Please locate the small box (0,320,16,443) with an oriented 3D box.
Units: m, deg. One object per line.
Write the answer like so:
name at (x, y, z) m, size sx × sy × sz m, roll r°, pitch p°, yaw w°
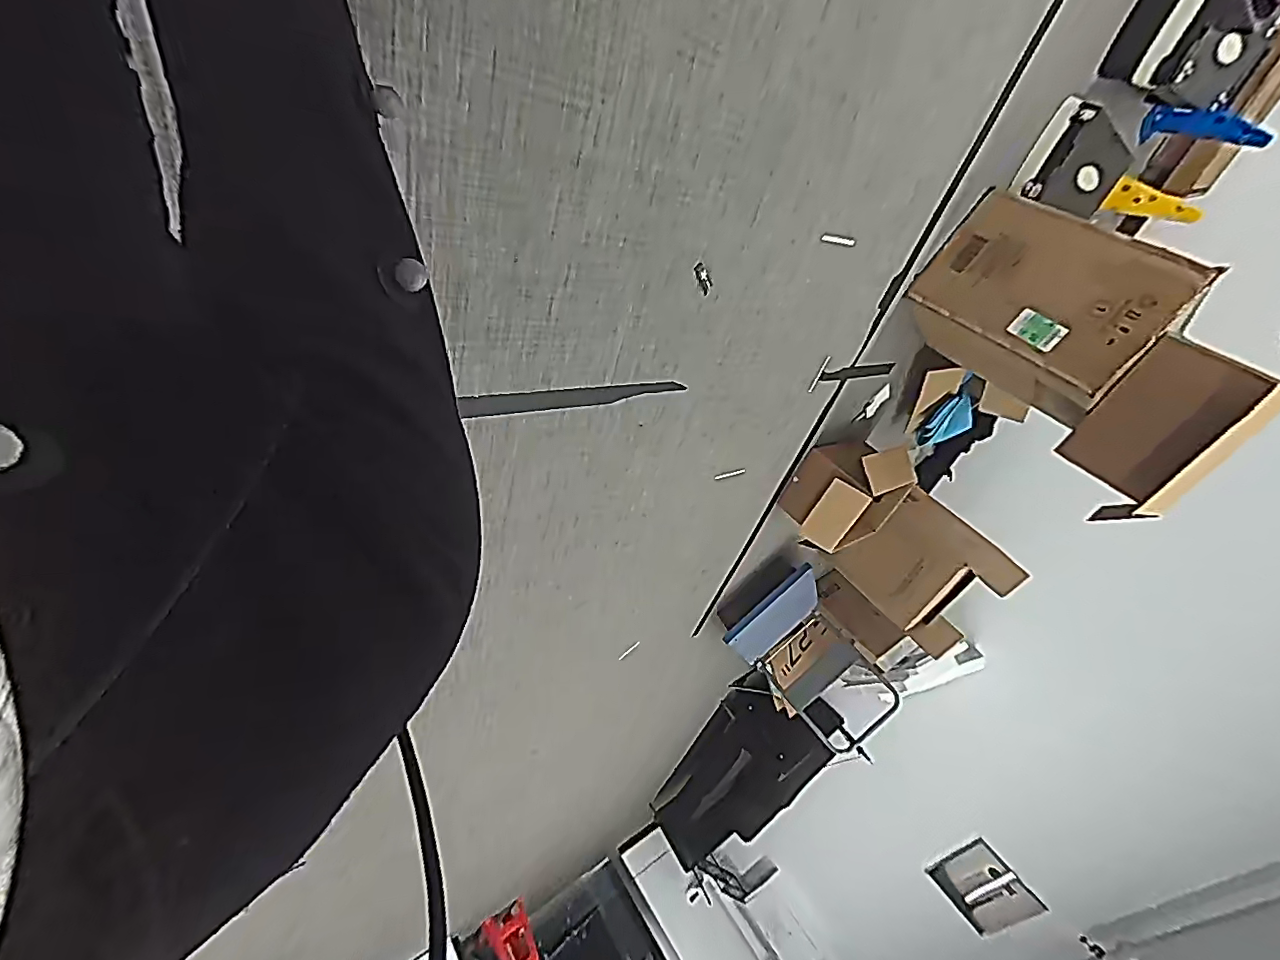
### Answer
small box at (-0.642, -0.131, 0.424) m, size 0.179 × 0.168 × 0.176 m, roll -9°, pitch 165°, yaw -44°
